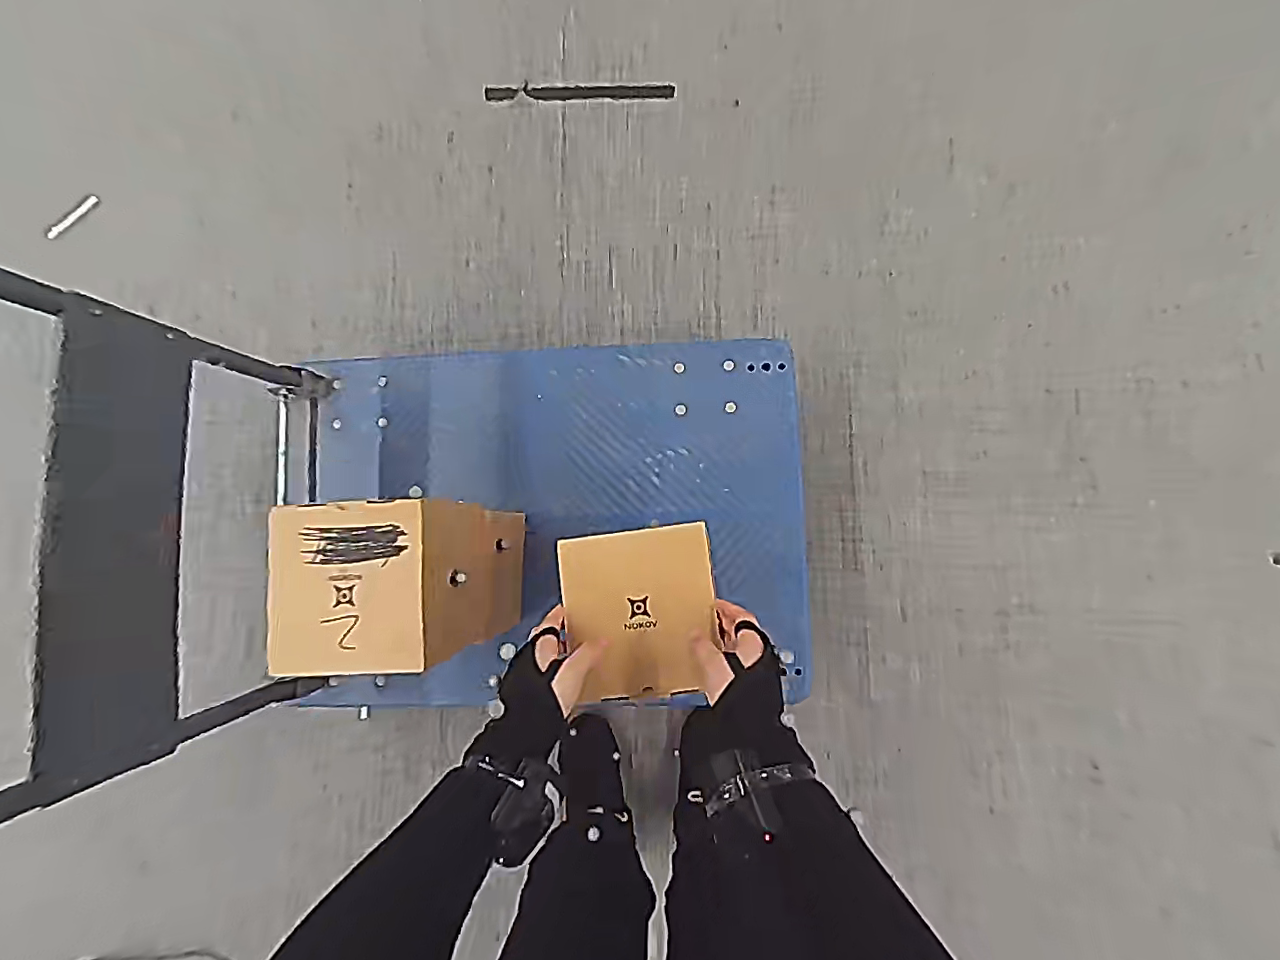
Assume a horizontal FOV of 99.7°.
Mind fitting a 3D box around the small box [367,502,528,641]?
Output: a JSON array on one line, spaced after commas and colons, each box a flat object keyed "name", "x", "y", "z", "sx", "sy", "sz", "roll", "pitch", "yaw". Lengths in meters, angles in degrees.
[{"name": "small box", "x": -0.266, "y": 0.126, "z": 0.788, "sx": 0.168, "sy": 0.176, "sz": 0.179, "roll": 2, "pitch": 85, "yaw": 5}]

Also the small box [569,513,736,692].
[{"name": "small box", "x": 0.018, "y": 0.143, "z": 0.661, "sx": 0.168, "sy": 0.176, "sz": 0.179, "roll": -9, "pitch": 82, "yaw": 6}]
